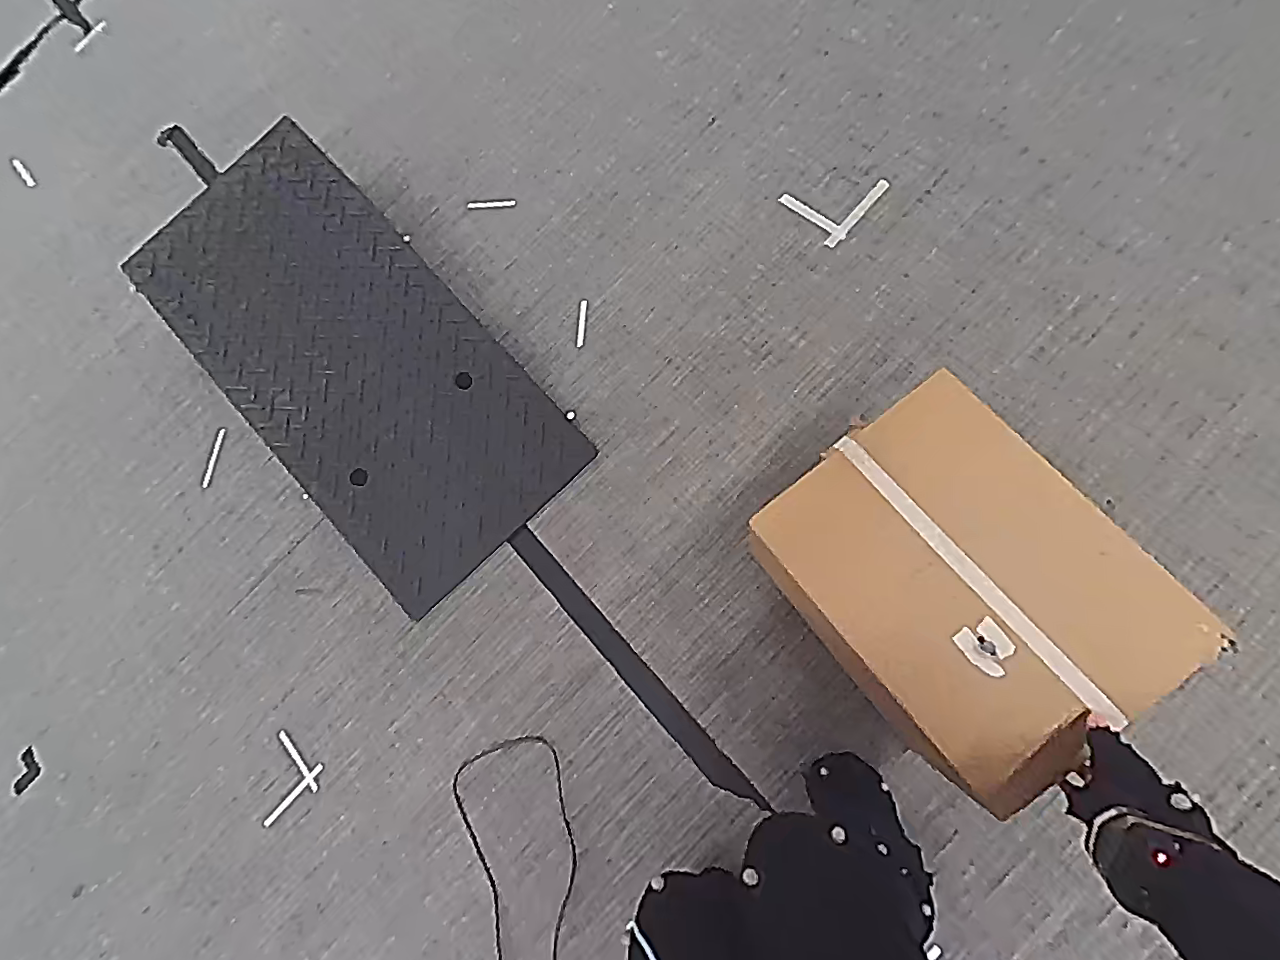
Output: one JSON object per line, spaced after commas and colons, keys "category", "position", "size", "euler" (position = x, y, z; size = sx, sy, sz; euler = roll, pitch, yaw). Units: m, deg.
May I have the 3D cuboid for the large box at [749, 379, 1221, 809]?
{"category": "large box", "position": [0.402, 0.142, 0.767], "size": [0.320, 0.320, 0.408], "euler": [-39, 73, 1]}

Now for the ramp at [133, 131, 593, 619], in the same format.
{"category": "ramp", "position": [-0.594, -0.245, 1.129], "size": [0.509, 0.206, 0.991], "euler": [-45, 73, -1]}
